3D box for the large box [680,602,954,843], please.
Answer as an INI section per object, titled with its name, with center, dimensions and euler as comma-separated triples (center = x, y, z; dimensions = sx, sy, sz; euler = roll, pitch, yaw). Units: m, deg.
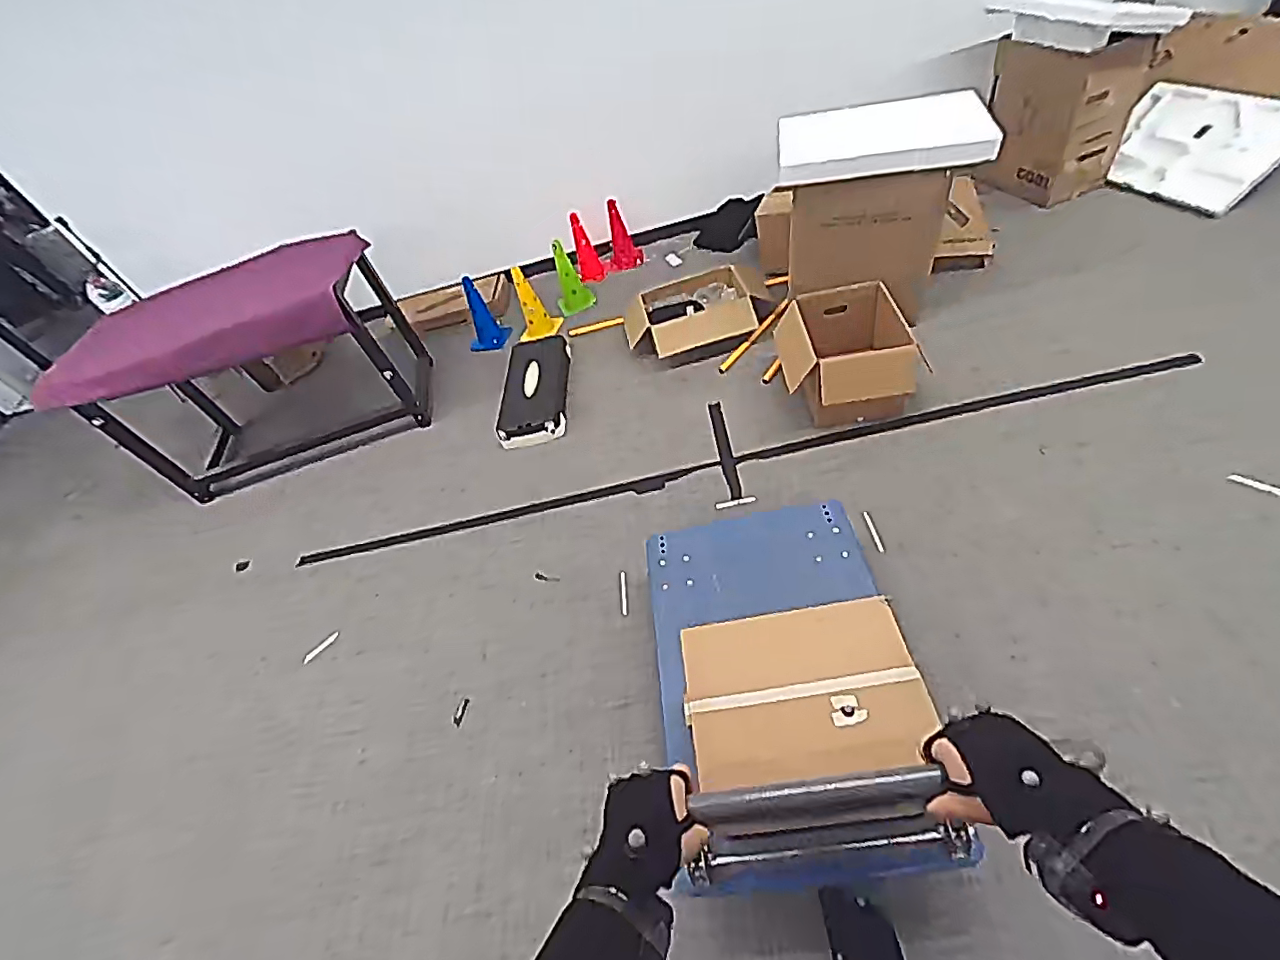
[large box]
center = 0.313, 0.482, 1.060
dimensions = 0.408, 0.320, 0.320
euler = -11, 47, 6
